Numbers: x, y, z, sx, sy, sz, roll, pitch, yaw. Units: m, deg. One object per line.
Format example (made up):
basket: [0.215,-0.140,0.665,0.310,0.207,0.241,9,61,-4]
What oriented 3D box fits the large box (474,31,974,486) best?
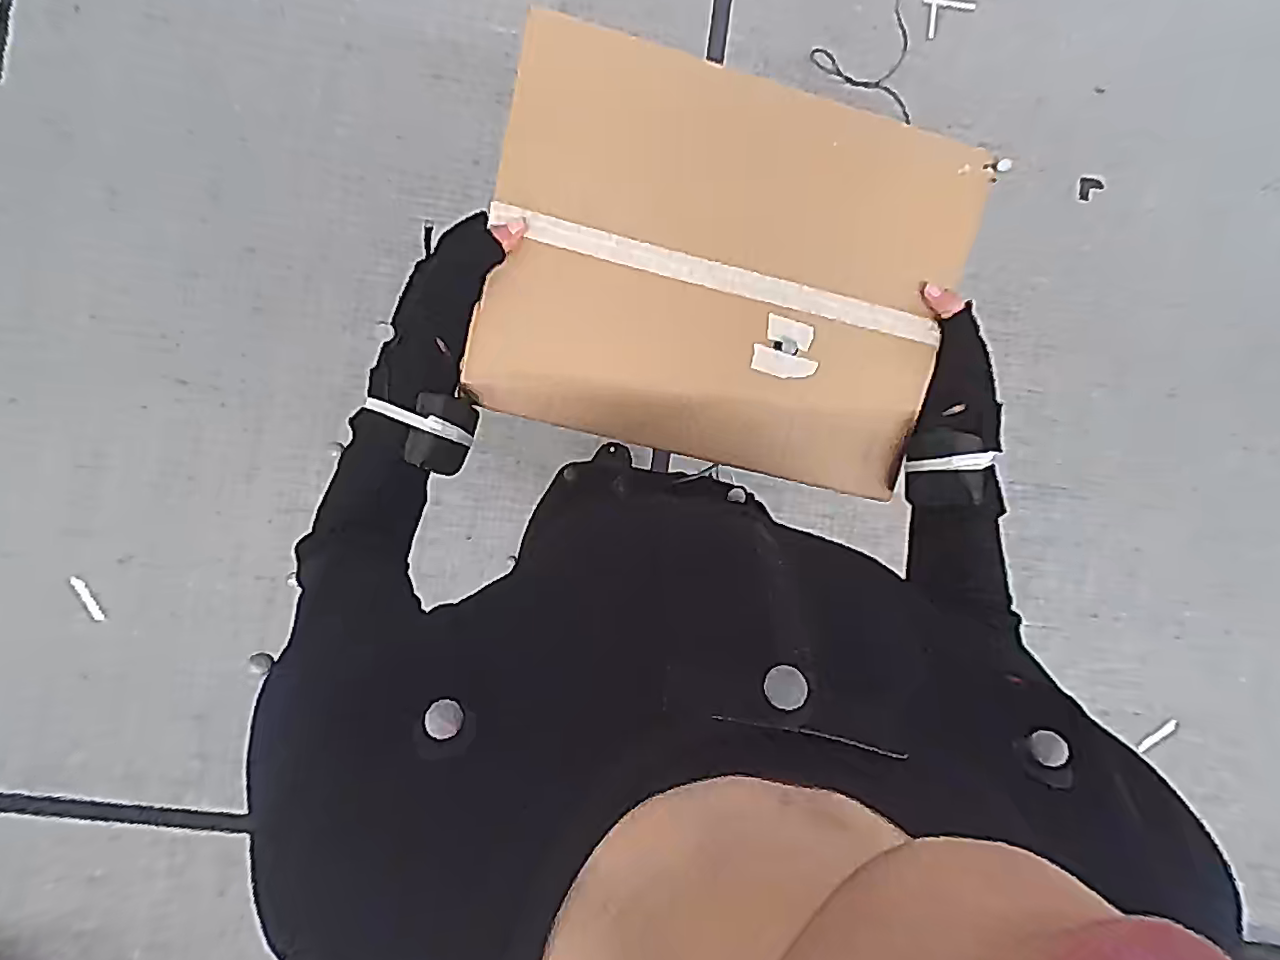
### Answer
large box: [0.061,-0.207,0.631,0.408,0.320,0.320,13,100,-7]
